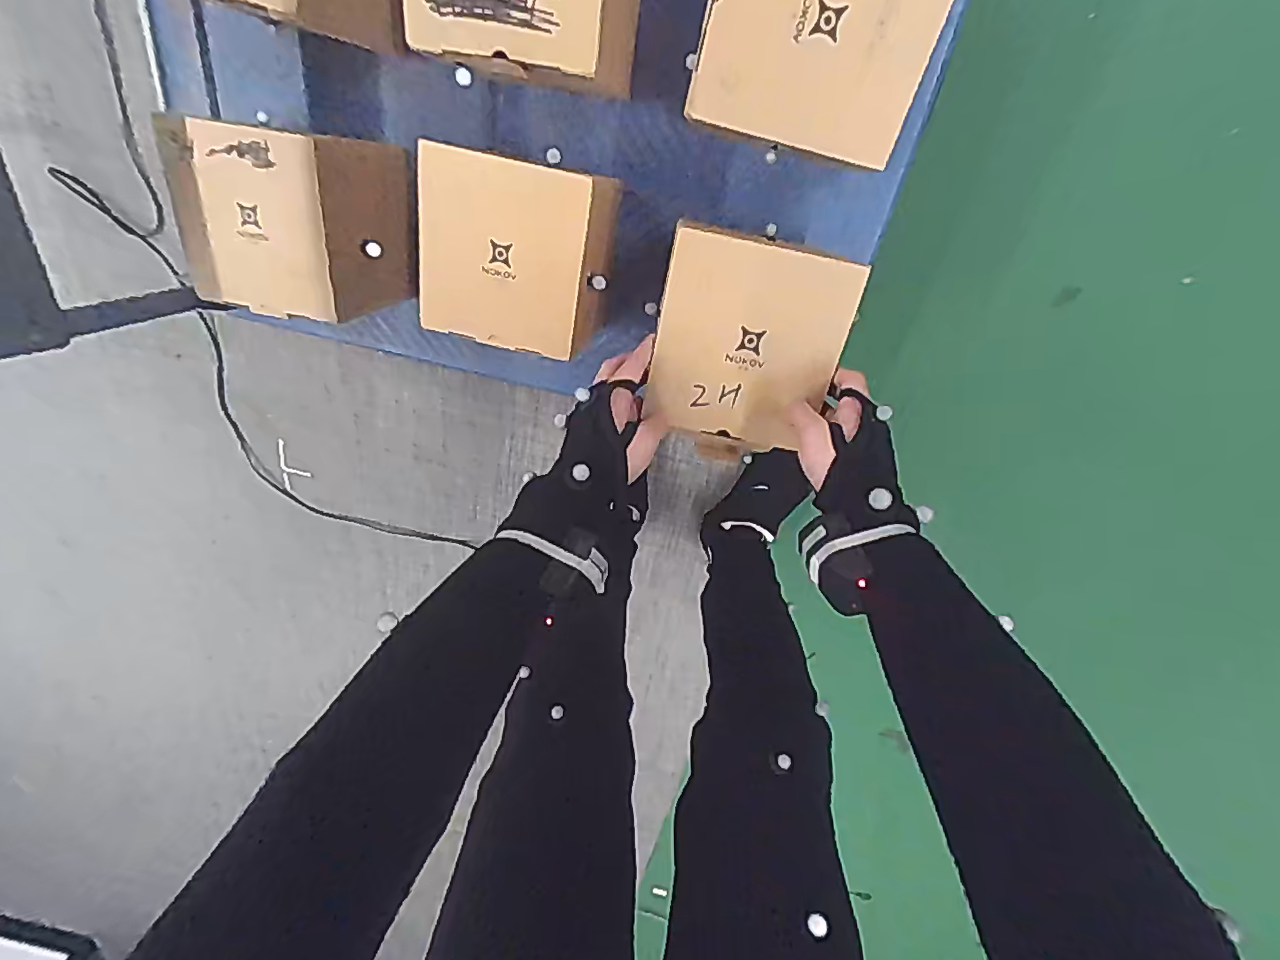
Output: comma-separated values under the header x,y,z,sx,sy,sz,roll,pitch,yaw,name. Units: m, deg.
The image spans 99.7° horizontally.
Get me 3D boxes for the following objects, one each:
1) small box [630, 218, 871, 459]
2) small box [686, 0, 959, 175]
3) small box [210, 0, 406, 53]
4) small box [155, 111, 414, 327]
x,y,z,sx,sy,sz,roll,pitch,yaw,name
0.099,-0.154,0.555,0.168,0.176,0.179,19,118,-2,small box
0.153,-0.382,0.479,0.179,0.176,0.168,17,121,1,small box
-0.325,-0.517,0.482,0.168,0.176,0.179,16,119,0,small box
-0.375,-0.294,0.613,0.168,0.176,0.179,12,120,3,small box
